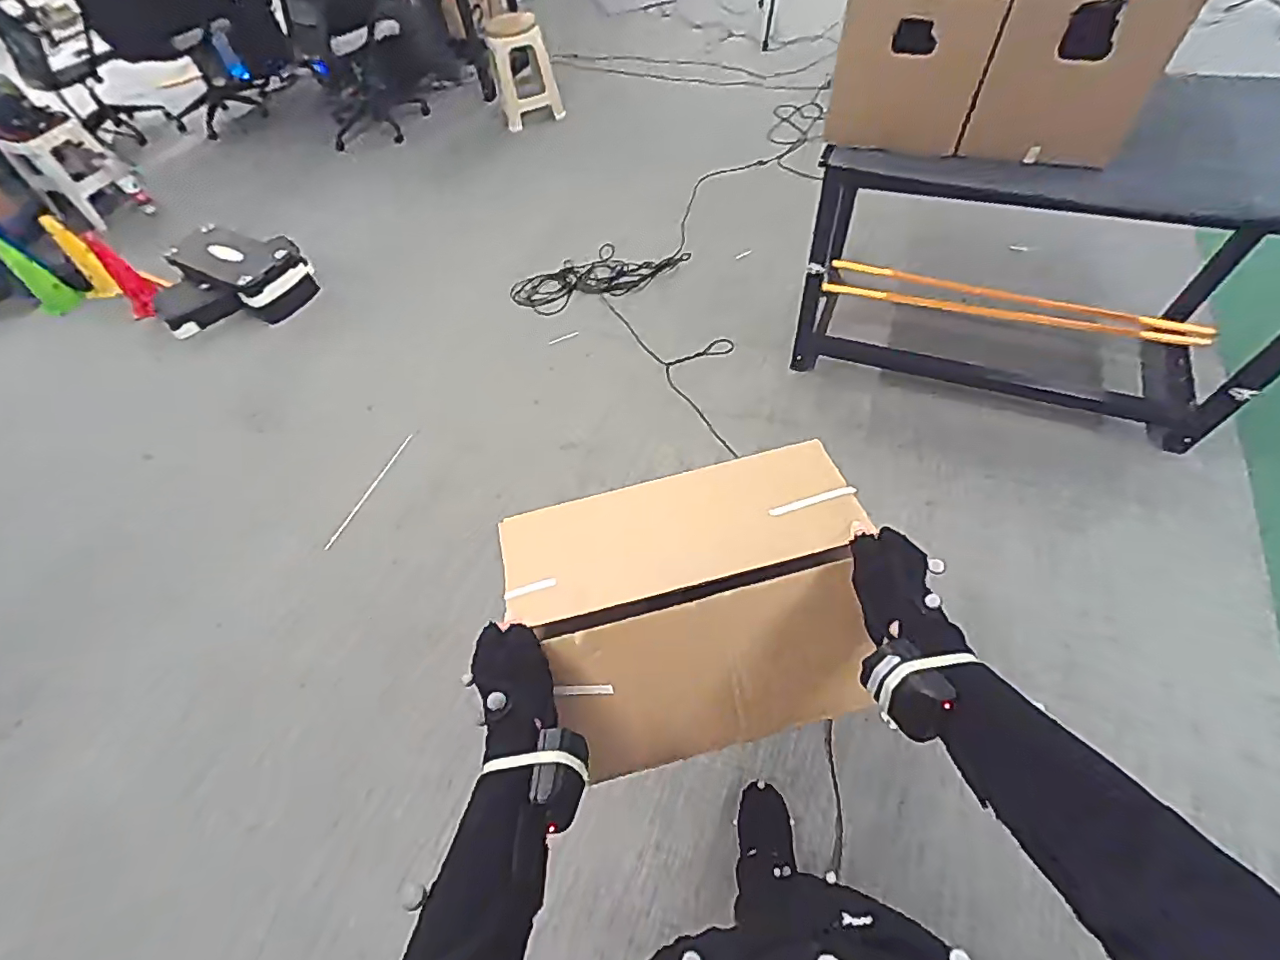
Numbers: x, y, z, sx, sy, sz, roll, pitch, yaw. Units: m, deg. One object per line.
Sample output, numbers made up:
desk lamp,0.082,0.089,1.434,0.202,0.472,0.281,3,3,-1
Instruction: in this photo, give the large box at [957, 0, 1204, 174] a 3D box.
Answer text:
large box,0.952,-0.963,1.223,0.320,0.320,0.408,15,60,18
